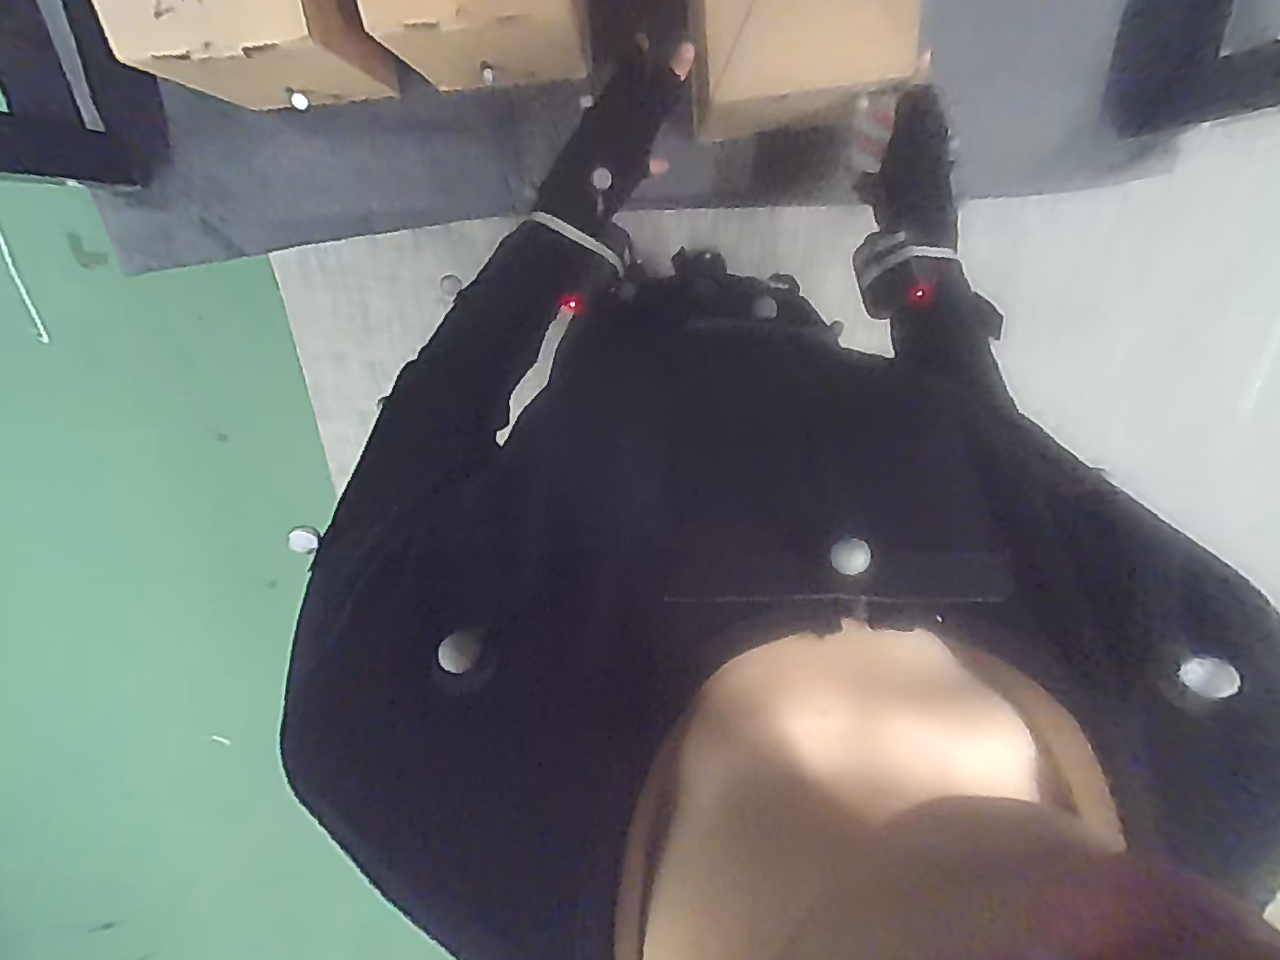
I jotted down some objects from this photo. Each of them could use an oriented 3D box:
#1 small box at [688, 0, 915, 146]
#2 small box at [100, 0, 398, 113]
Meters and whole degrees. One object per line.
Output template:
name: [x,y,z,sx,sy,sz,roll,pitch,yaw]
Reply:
small box: [0.130,-0.423,0.481,0.168,0.176,0.179,-5,112,4]
small box: [-0.344,-0.454,0.479,0.168,0.176,0.179,-4,112,2]
